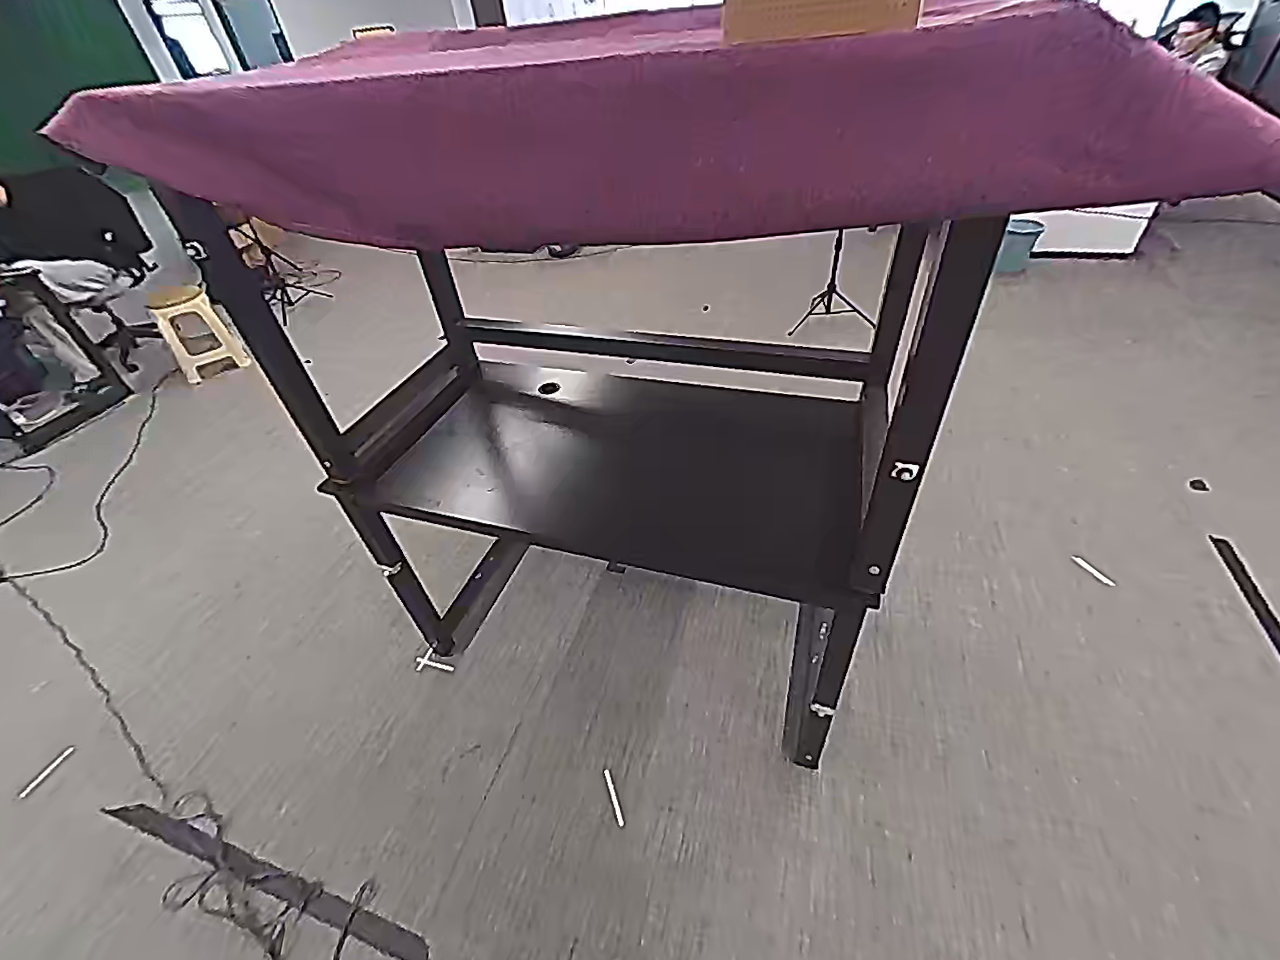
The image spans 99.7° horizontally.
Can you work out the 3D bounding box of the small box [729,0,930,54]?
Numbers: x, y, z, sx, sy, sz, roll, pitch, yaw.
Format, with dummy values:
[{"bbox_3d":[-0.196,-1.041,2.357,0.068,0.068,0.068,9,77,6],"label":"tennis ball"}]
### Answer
[{"bbox_3d":[0.186,-0.509,0.495,0.179,0.176,0.168,10,42,19],"label":"small box"}]
